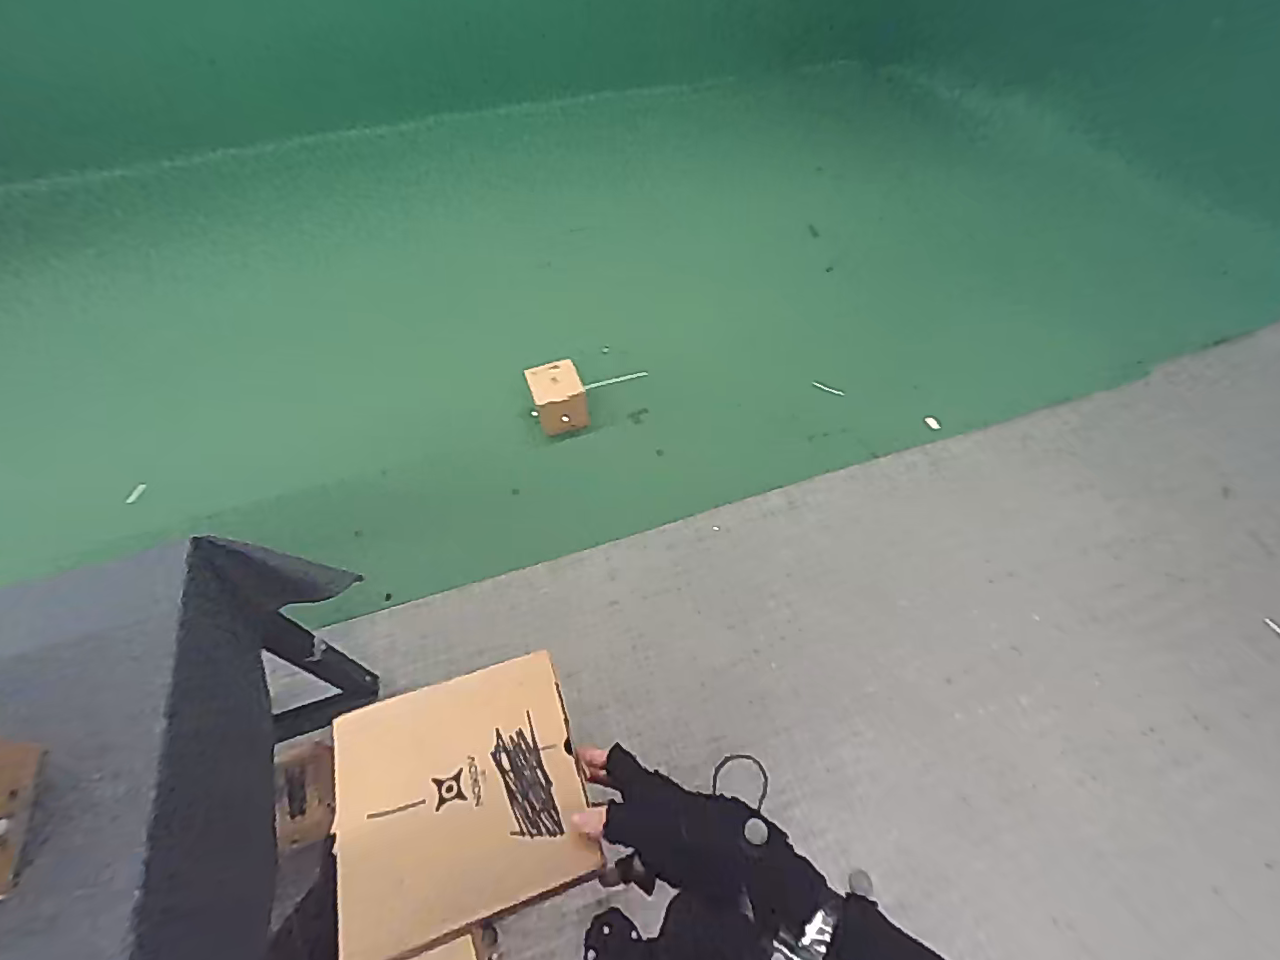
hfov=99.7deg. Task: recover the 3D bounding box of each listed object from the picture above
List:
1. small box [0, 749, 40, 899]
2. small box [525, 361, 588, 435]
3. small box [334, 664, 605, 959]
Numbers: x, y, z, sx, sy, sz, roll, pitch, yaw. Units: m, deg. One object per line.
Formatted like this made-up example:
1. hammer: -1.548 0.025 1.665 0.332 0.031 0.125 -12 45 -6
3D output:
1. small box: -0.795 0.383 0.545 0.179 0.176 0.168 -19 58 -11
2. small box: -0.287 -0.277 1.877 0.168 0.176 0.179 -17 58 -10
3. small box: -0.135 0.284 0.460 0.179 0.176 0.168 -13 54 -13
